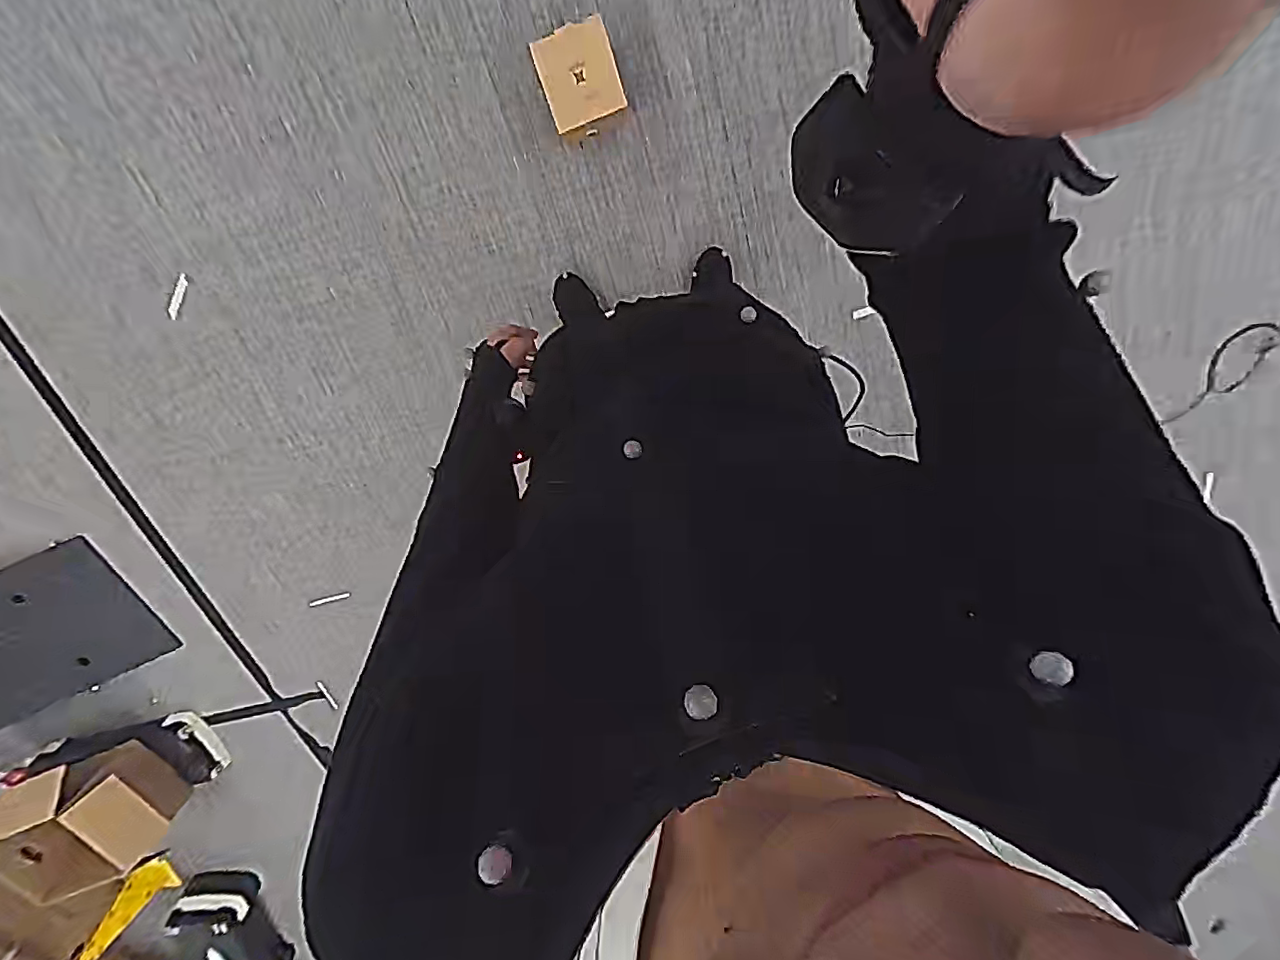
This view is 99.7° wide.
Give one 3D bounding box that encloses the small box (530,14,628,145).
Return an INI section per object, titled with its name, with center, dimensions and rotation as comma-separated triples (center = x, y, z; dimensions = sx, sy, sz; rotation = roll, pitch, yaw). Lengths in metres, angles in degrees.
[small box]
center = -0.131, -0.896, 1.228
dimensions = 0.168, 0.176, 0.179
rotation = -17, 113, 8
